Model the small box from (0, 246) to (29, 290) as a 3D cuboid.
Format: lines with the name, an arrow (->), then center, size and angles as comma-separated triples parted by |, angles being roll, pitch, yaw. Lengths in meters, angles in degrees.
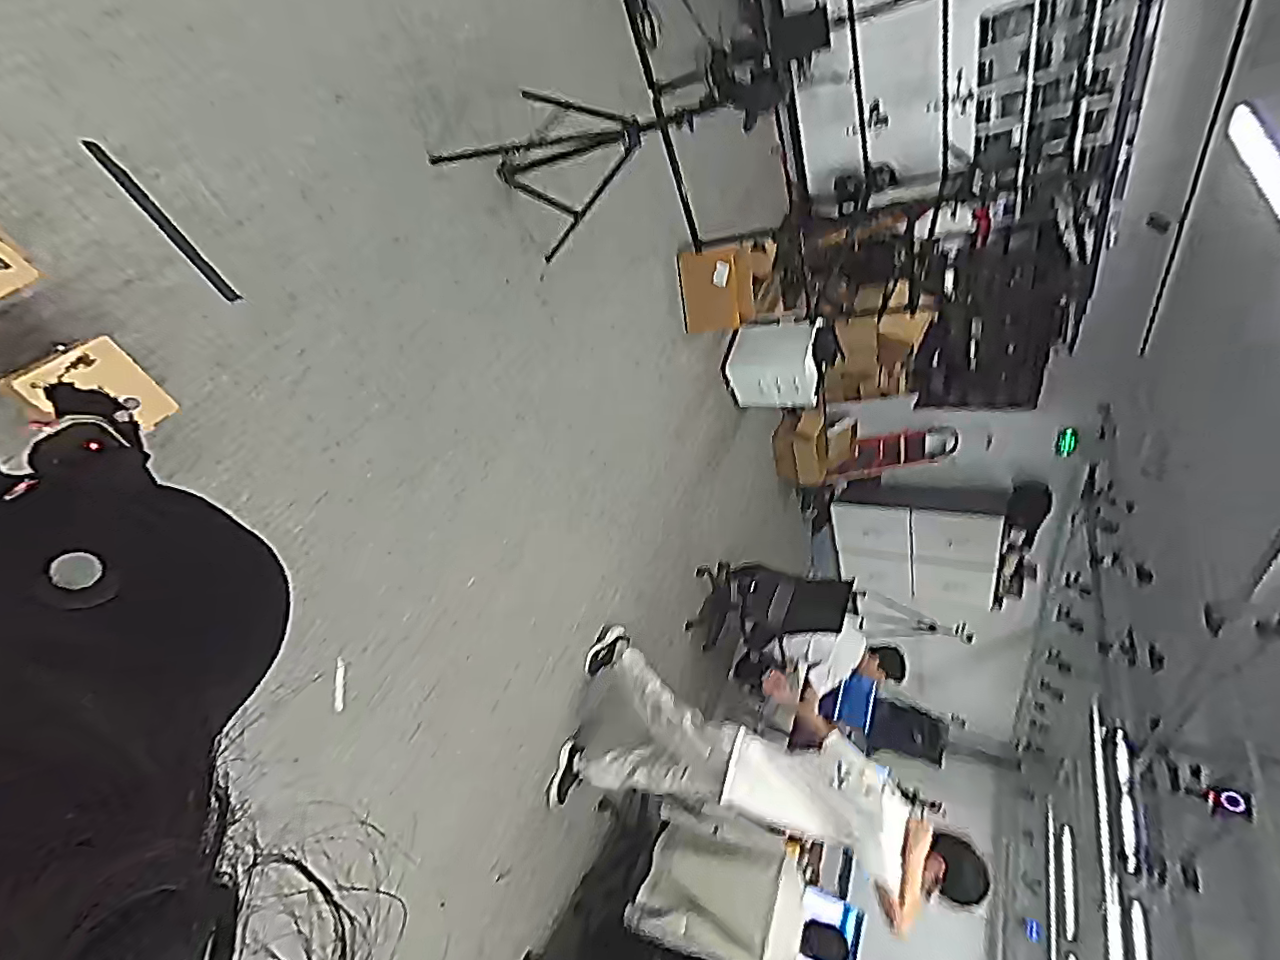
small box -> -1.183, -0.357, 0.874 | 0.179, 0.176, 0.168 | -60, 140, -35

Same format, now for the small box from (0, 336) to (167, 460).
small box -> -1.094, -0.161, 1.048 | 0.168, 0.176, 0.179 | -58, 140, -38
